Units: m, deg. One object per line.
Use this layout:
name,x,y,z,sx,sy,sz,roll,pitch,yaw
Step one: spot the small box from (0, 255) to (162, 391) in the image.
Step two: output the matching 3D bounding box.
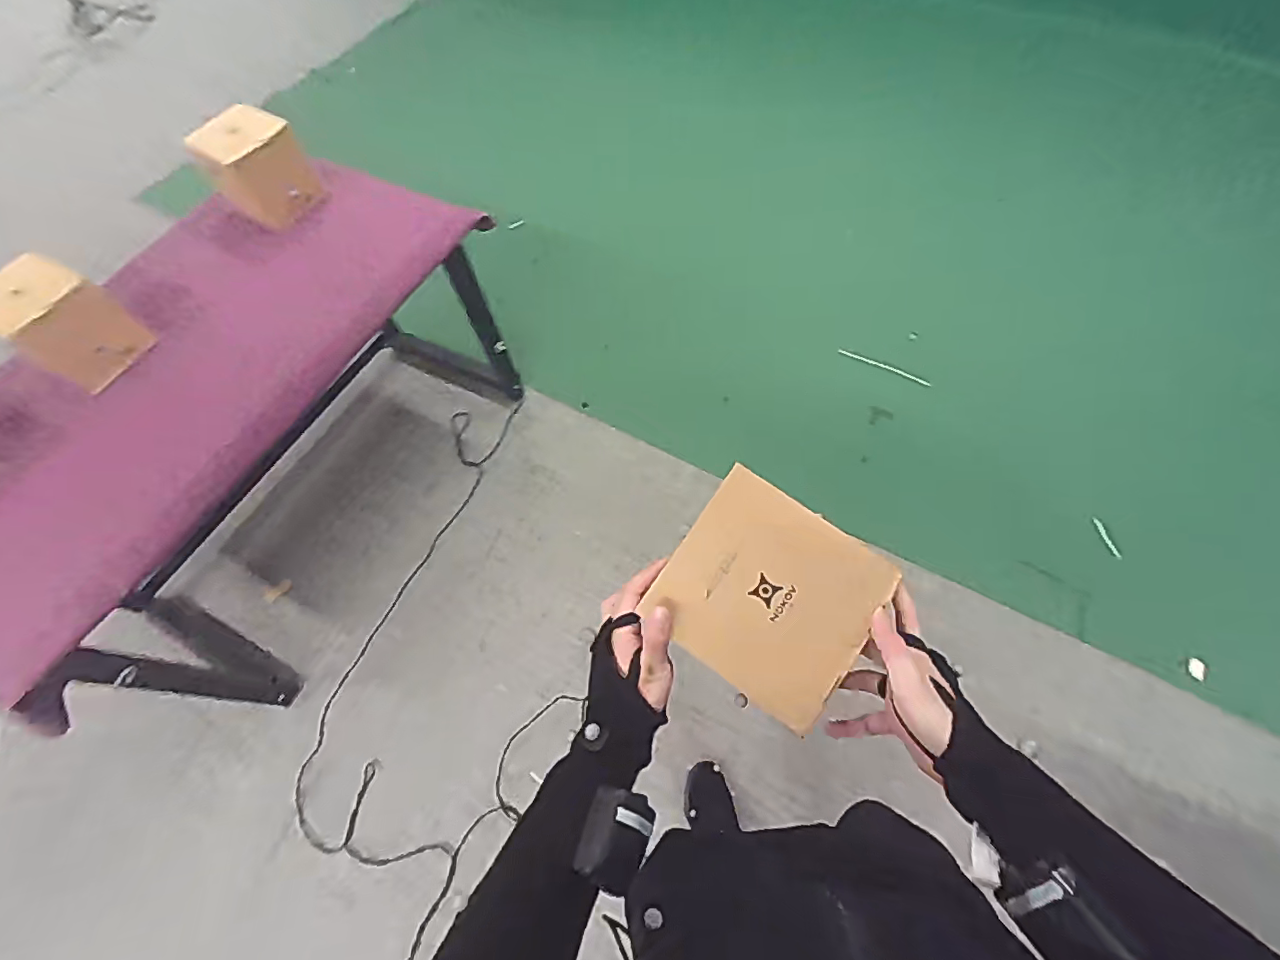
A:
small box,-1.124,-0.304,1.067,0.179,0.176,0.168,24,68,14

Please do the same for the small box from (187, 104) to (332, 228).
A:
small box,-0.870,-0.719,1.251,0.179,0.176,0.168,30,70,16
